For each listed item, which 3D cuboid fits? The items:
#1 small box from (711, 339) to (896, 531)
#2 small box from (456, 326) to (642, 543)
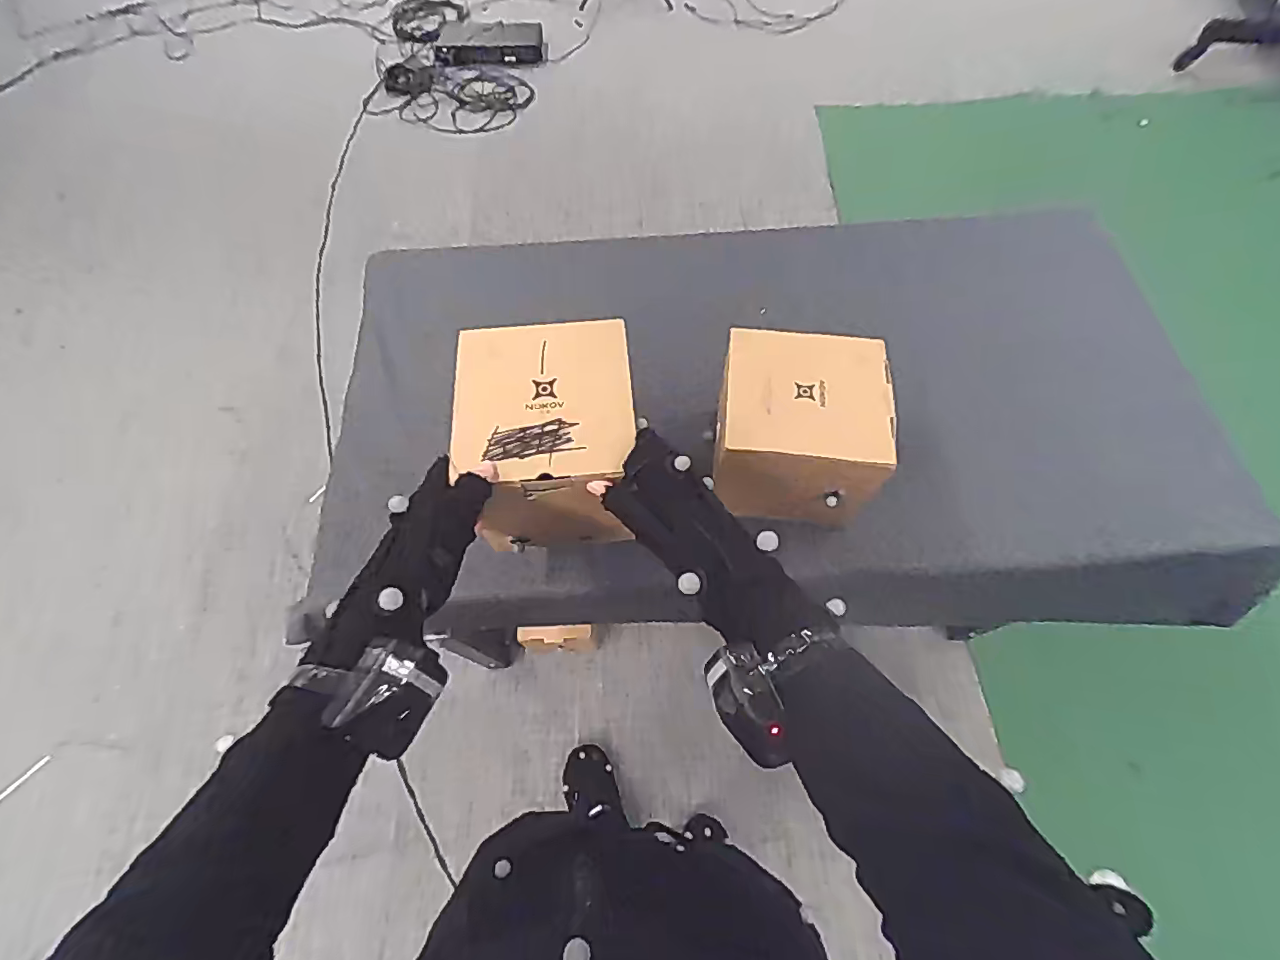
[{"bbox_3d":[0.186,-0.047,0.659,0.179,0.176,0.168,6,63,5],"label":"small box"},{"bbox_3d":[-0.085,-0.038,0.579,0.168,0.176,0.179,-4,64,-2],"label":"small box"}]
